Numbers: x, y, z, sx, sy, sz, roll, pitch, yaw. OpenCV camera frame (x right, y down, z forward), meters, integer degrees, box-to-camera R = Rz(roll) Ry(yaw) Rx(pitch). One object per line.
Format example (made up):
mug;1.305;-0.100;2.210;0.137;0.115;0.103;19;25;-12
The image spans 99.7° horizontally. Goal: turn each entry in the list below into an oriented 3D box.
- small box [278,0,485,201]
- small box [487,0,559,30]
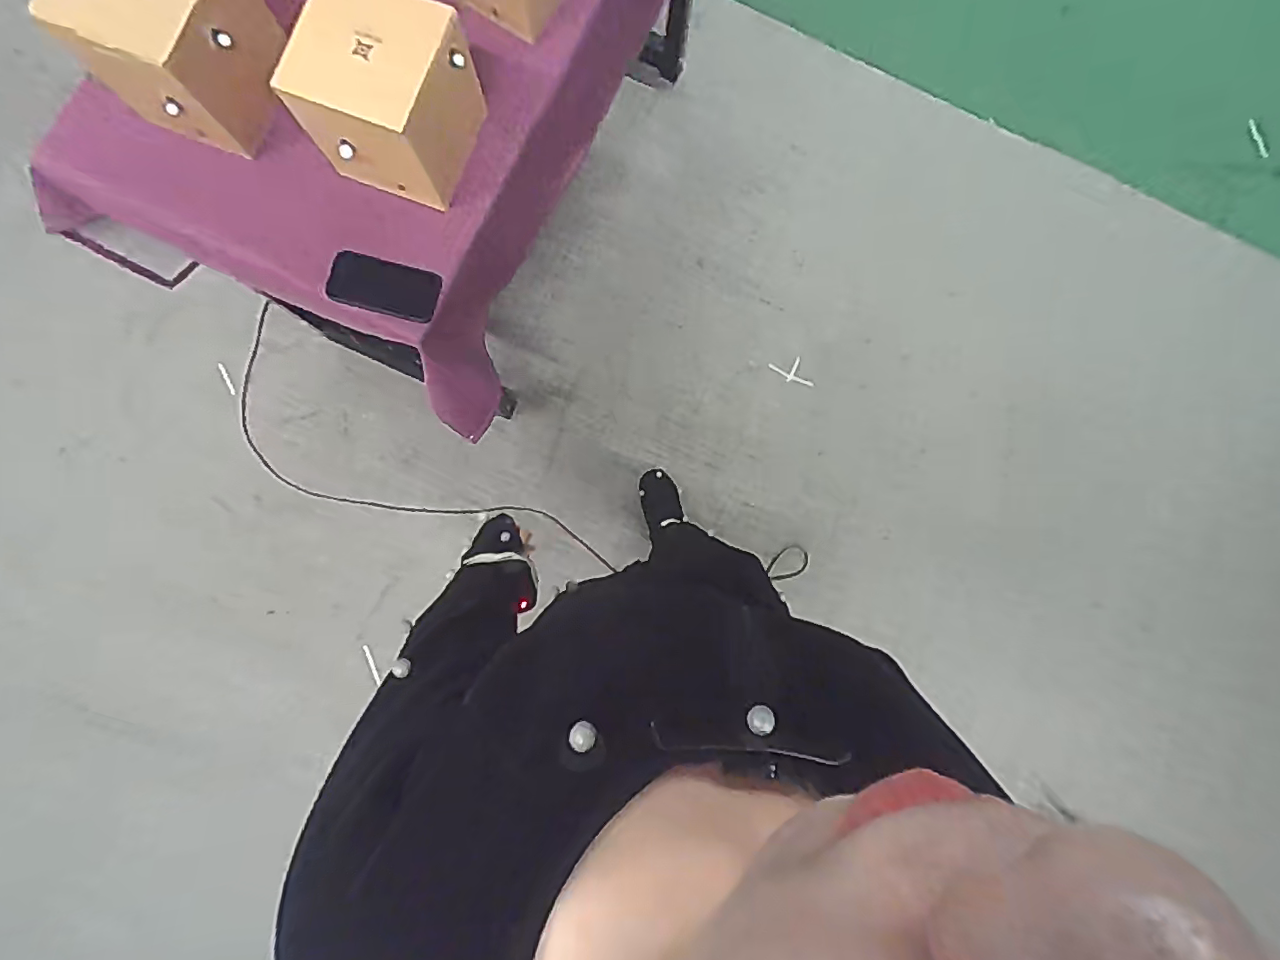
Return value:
small box;-0.323;-0.513;0.718;0.168;0.176;0.179;20;84;-1
small box;-0.176;-0.789;0.745;0.168;0.176;0.179;31;84;-1
